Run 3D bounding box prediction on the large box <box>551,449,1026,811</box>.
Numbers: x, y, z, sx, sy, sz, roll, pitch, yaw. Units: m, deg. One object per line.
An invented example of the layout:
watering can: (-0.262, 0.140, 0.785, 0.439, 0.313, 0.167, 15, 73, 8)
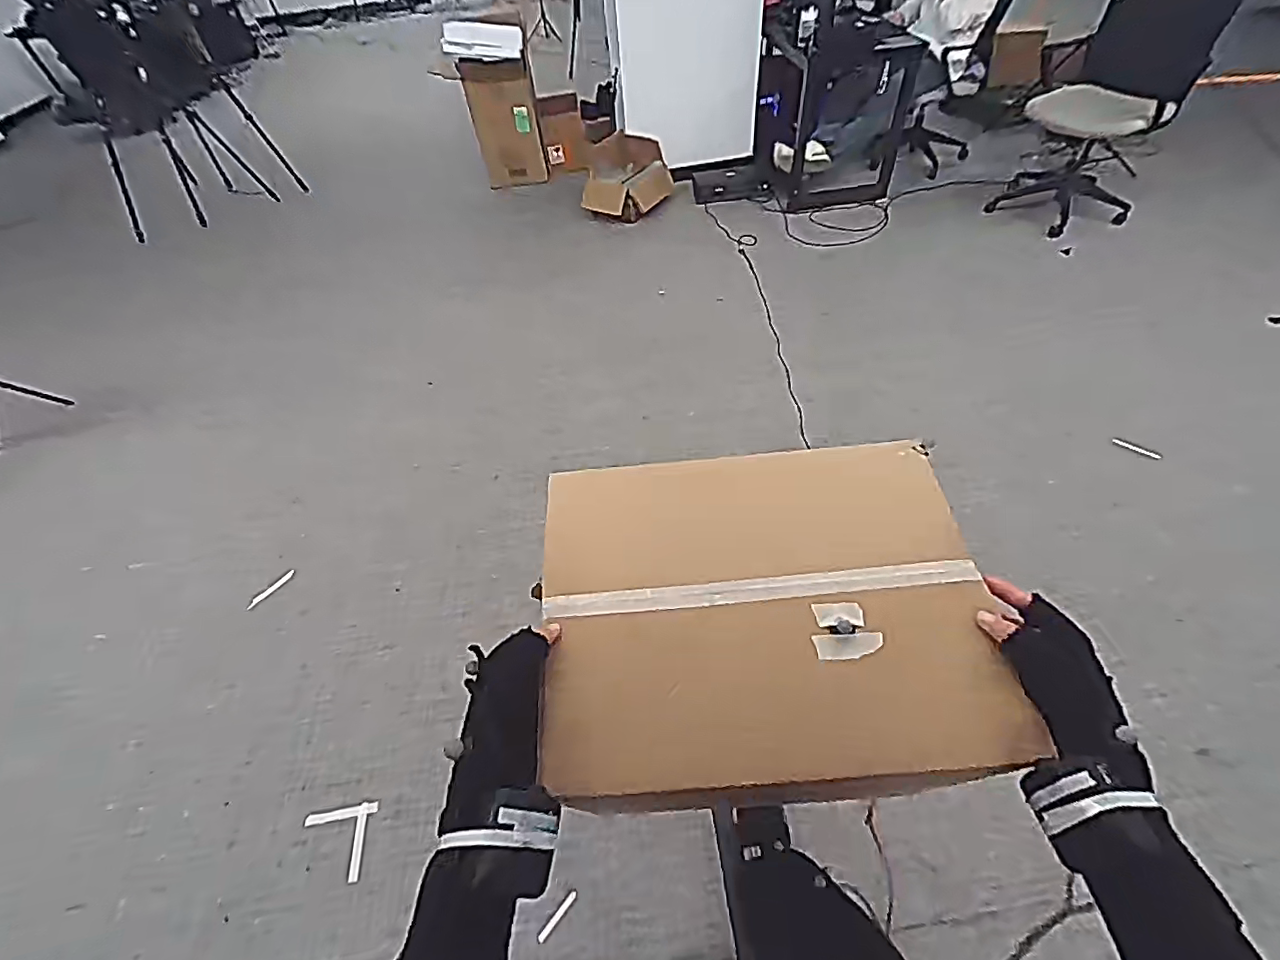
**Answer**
large box: (0.120, 0.194, 0.650, 0.408, 0.320, 0.320, -5, 56, 1)
